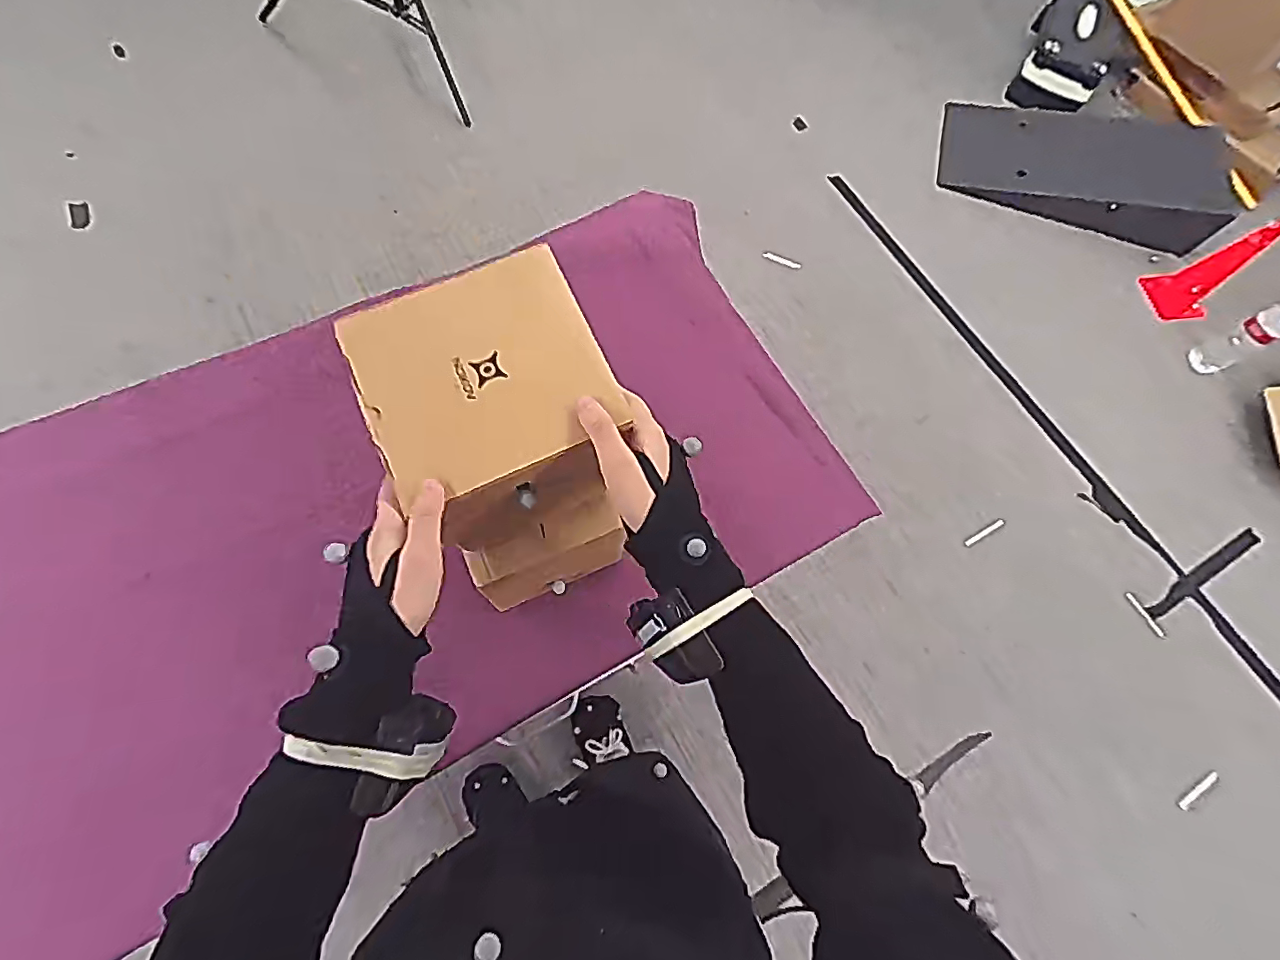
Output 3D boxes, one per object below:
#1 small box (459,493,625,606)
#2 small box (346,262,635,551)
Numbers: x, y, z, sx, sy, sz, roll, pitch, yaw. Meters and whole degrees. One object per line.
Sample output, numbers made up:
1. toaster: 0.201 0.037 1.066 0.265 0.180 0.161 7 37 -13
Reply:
1. small box: -0.131 0.032 0.643 0.168 0.176 0.179 -22 73 -13
2. small box: -0.117 -0.052 0.486 0.179 0.176 0.168 -25 76 -7
